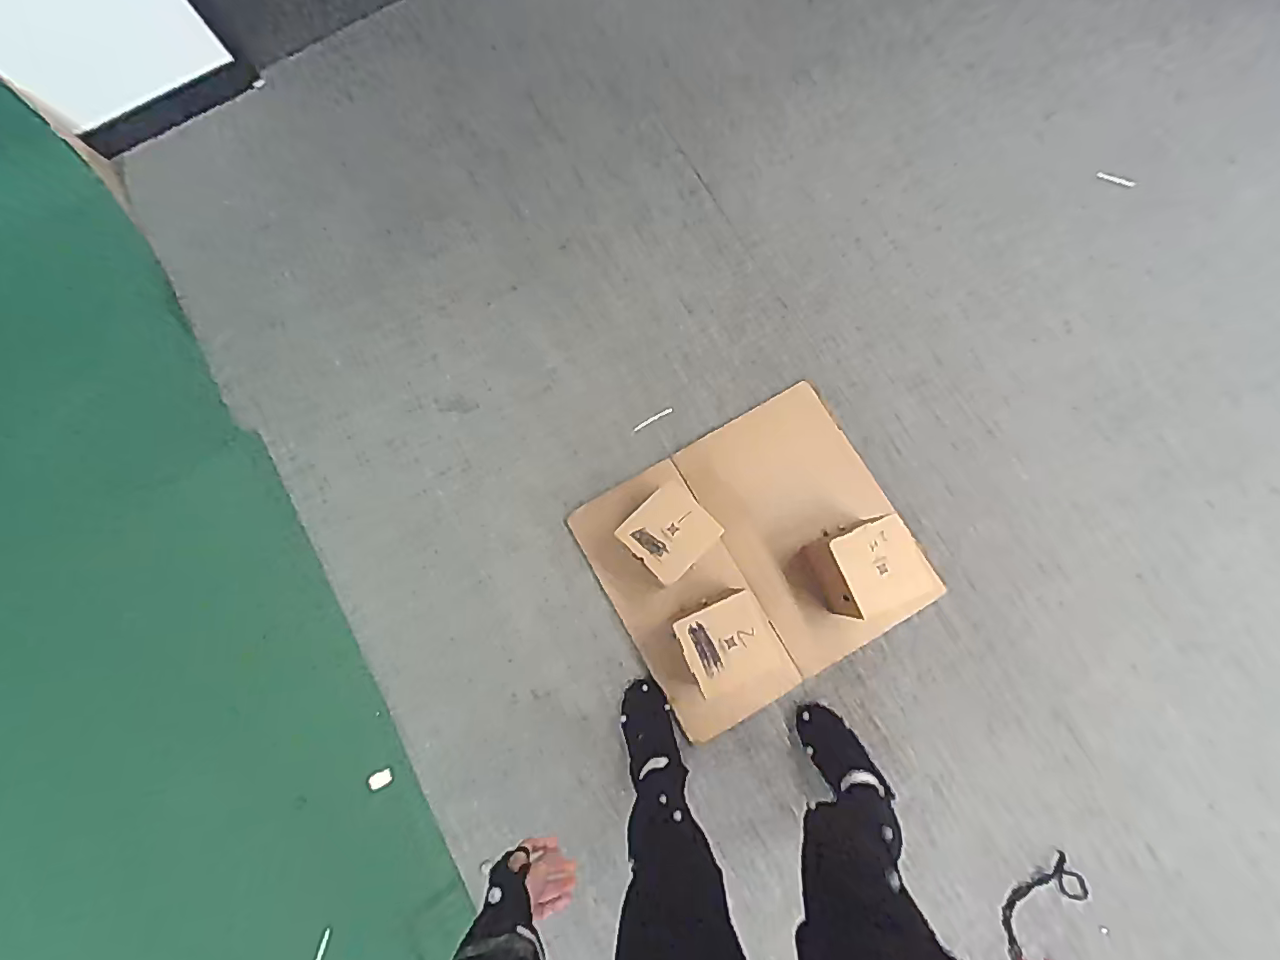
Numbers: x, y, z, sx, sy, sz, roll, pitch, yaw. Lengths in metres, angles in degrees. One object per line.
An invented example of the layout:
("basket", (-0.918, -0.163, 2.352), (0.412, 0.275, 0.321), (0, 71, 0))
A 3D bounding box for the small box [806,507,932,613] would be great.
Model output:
("small box", (0.493, 0.176, 1.193), (0.168, 0.176, 0.179), (-22, 80, -4))

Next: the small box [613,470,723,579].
("small box", (0.061, 0.107, 1.214), (0.179, 0.176, 0.168), (-43, 83, -8))
